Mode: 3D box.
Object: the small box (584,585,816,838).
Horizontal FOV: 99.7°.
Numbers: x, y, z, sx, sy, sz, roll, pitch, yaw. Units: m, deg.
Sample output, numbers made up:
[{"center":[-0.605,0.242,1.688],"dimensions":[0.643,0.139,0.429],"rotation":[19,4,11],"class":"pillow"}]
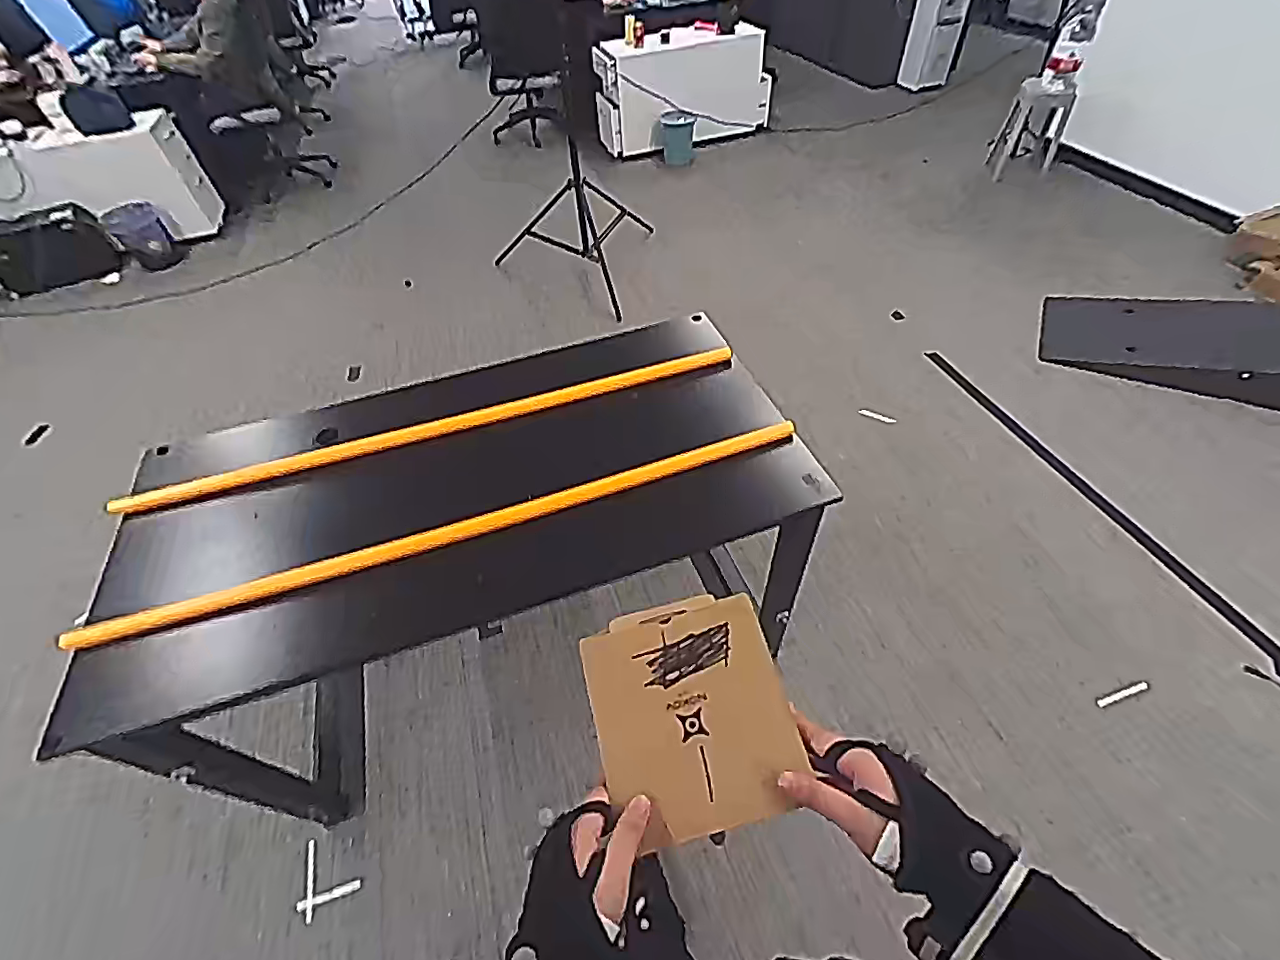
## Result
[{"center":[0.051,0.230,0.538],"dimensions":[0.168,0.176,0.179],"rotation":[-15,61,-2],"class":"small box"}]
